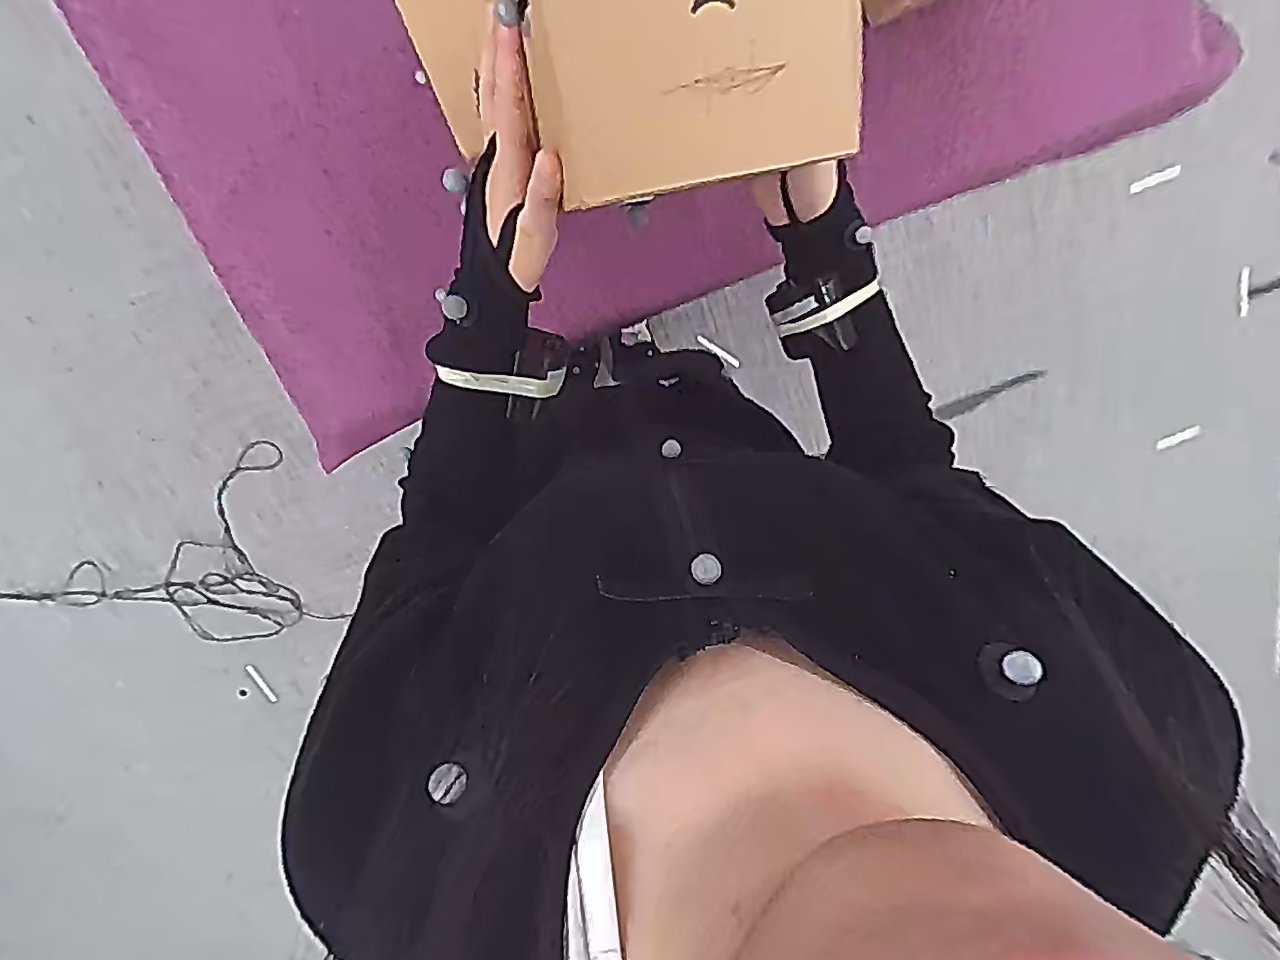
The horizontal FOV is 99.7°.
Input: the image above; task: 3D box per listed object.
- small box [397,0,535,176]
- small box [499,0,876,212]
[{"bbox_3d":[-0.123,-0.422,0.528,0.168,0.176,0.179,-23,109,0],"label":"small box"},{"bbox_3d":[0.014,-0.270,0.319,0.168,0.176,0.179,-17,118,-11],"label":"small box"}]
